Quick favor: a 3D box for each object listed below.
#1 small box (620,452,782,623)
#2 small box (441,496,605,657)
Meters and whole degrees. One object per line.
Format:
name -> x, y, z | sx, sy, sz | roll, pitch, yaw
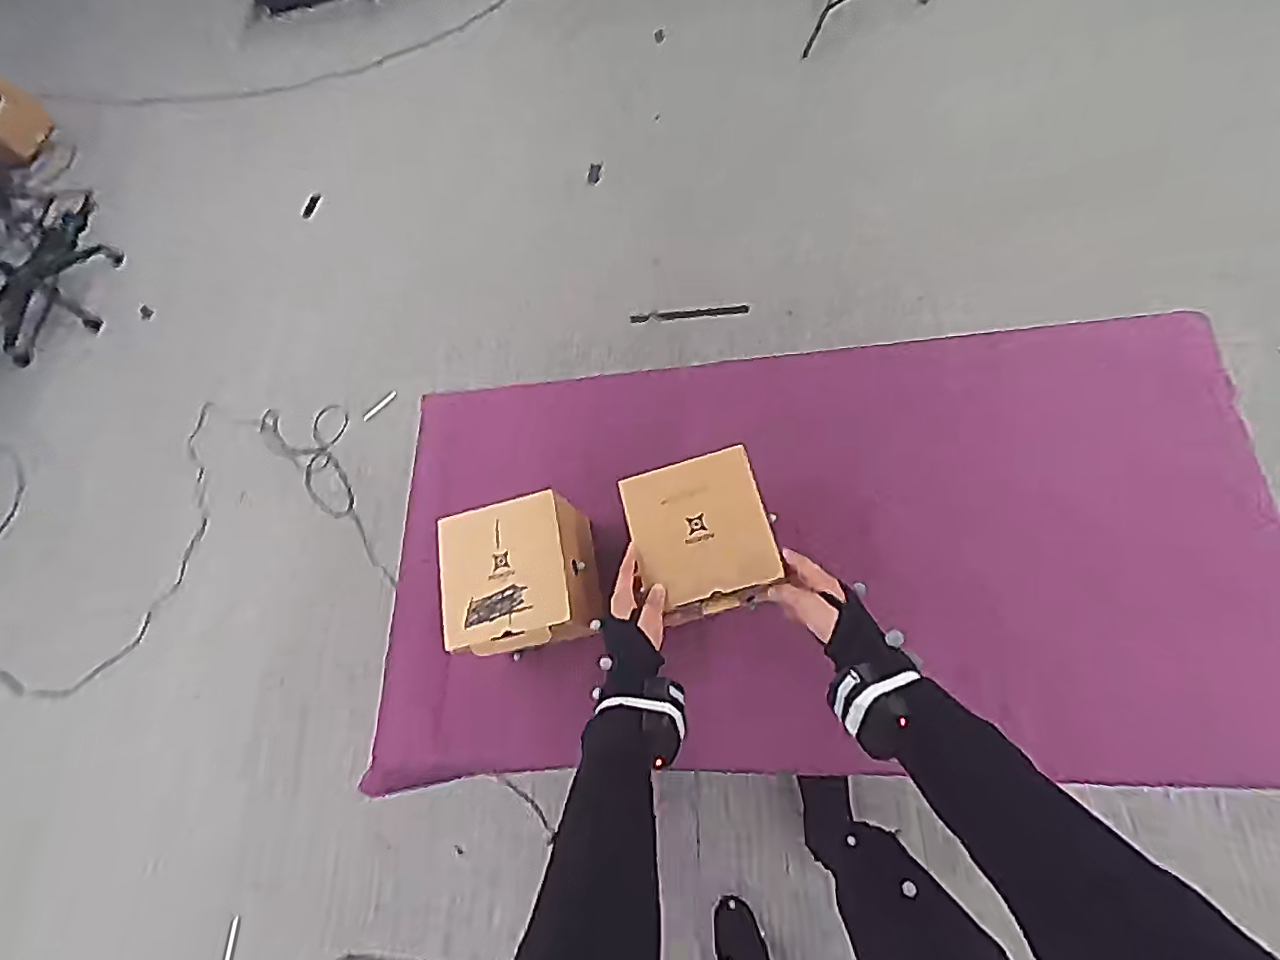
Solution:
small box -> 0.086, 0.089, 0.729 | 0.168, 0.176, 0.179 | -17, 68, 6
small box -> -0.157, 0.144, 0.761 | 0.168, 0.176, 0.179 | -16, 68, 6
